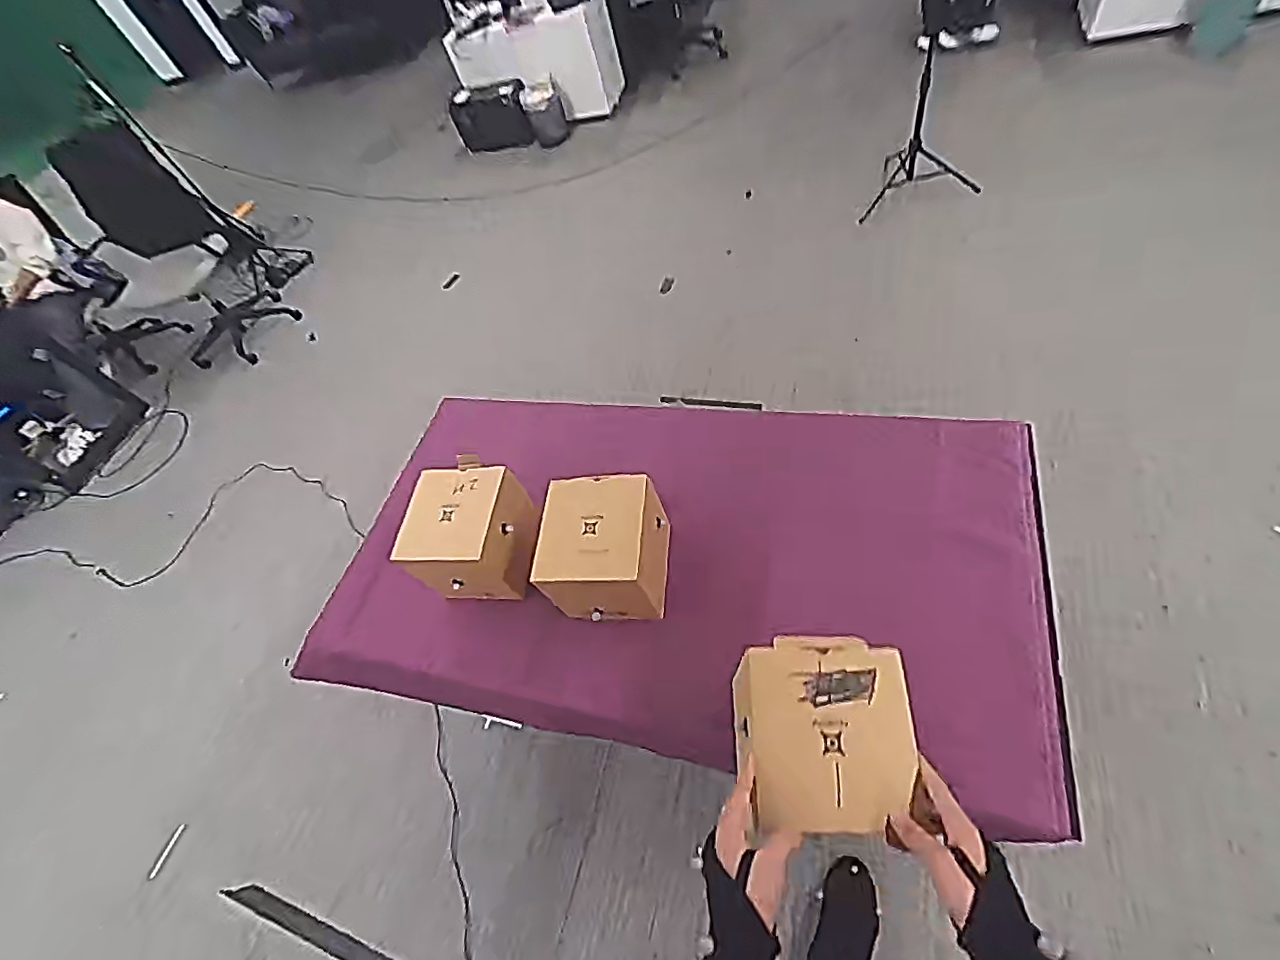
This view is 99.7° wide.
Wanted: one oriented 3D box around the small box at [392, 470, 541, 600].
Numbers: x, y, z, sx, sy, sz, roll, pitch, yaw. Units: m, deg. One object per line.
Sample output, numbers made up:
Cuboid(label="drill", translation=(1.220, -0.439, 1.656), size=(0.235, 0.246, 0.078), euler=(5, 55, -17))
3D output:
Cuboid(label="small box", translation=(-0.291, 0.102, 0.952), size=(0.168, 0.176, 0.179), euler=(-2, 57, 15))

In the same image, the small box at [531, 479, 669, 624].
Cuboid(label="small box", translation=(-0.052, 0.117, 0.871), size=(0.168, 0.176, 0.179), euler=(-3, 56, 16))

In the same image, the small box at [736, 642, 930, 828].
Cuboid(label="small box", translation=(0.206, 0.302, 0.636), size=(0.168, 0.176, 0.179), euler=(0, 59, 4))
